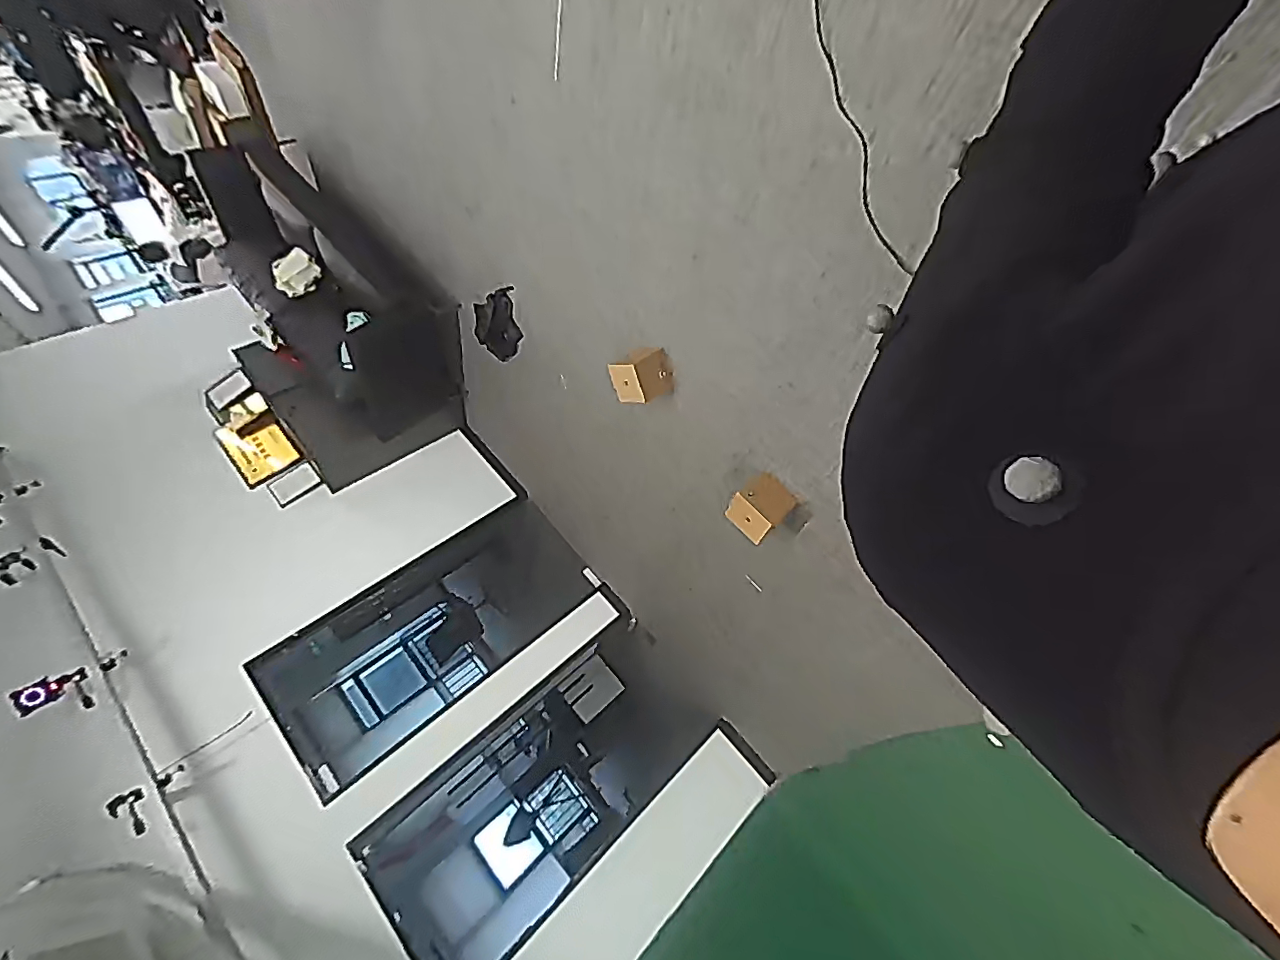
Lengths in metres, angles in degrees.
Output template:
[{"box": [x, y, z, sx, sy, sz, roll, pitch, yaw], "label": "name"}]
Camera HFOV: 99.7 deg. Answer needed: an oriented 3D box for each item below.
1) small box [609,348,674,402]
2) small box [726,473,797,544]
[{"box": [0.007, -0.428, 2.199, 0.179, 0.176, 0.168, 12, 131, 50], "label": "small box"}, {"box": [0.465, 0.105, 2.059, 0.179, 0.176, 0.168, 45, 149, 19], "label": "small box"}]
